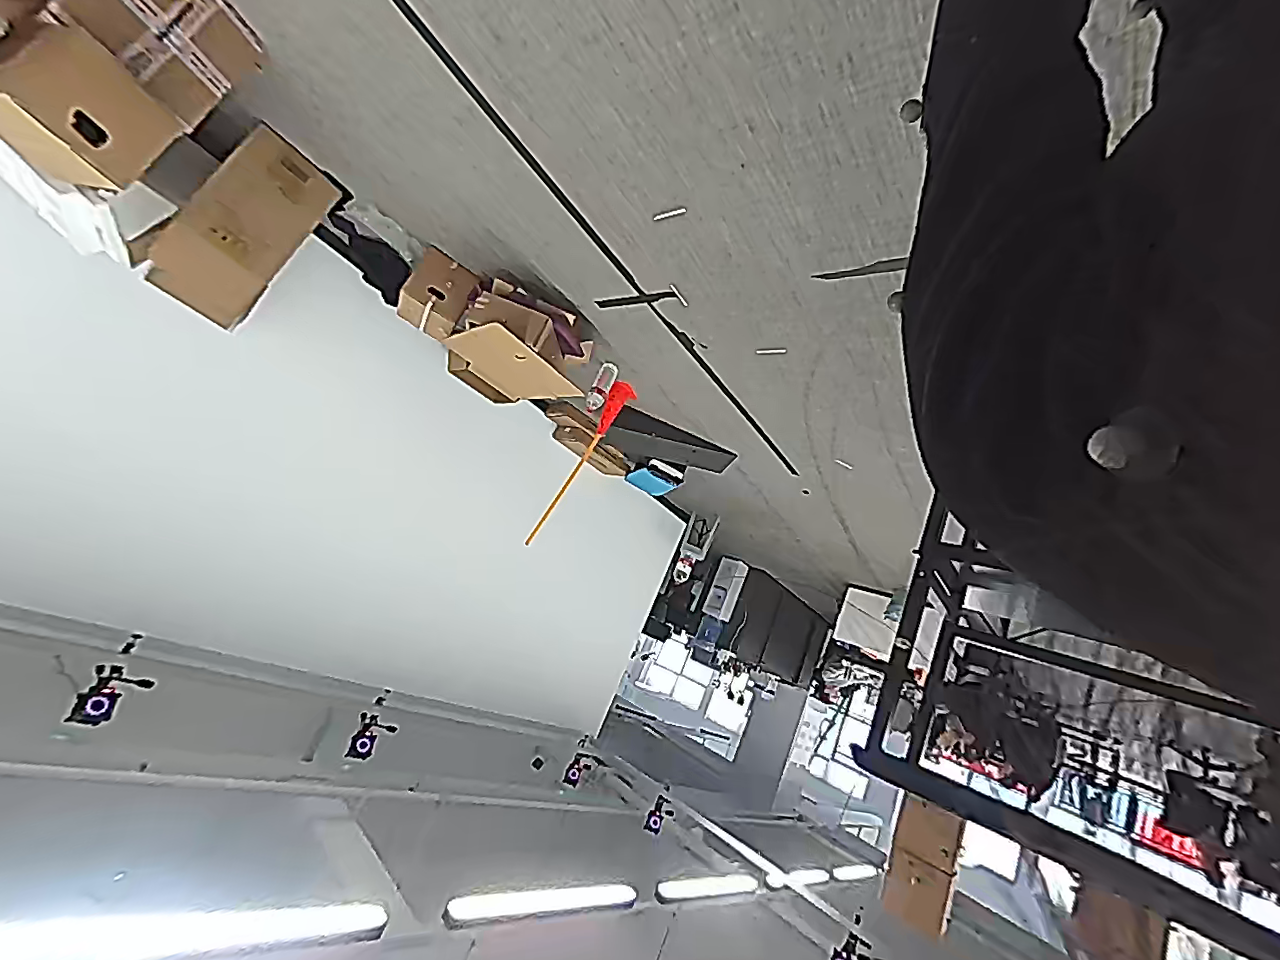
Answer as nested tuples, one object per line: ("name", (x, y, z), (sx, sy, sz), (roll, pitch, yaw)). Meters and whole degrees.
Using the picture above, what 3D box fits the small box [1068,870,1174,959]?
("small box", (1.204, 1.120, 1.351), (0.179, 0.176, 0.168), (10, 161, 47))

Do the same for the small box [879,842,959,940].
("small box", (0.838, 1.215, 1.616), (0.168, 0.176, 0.179), (10, 161, 40))
